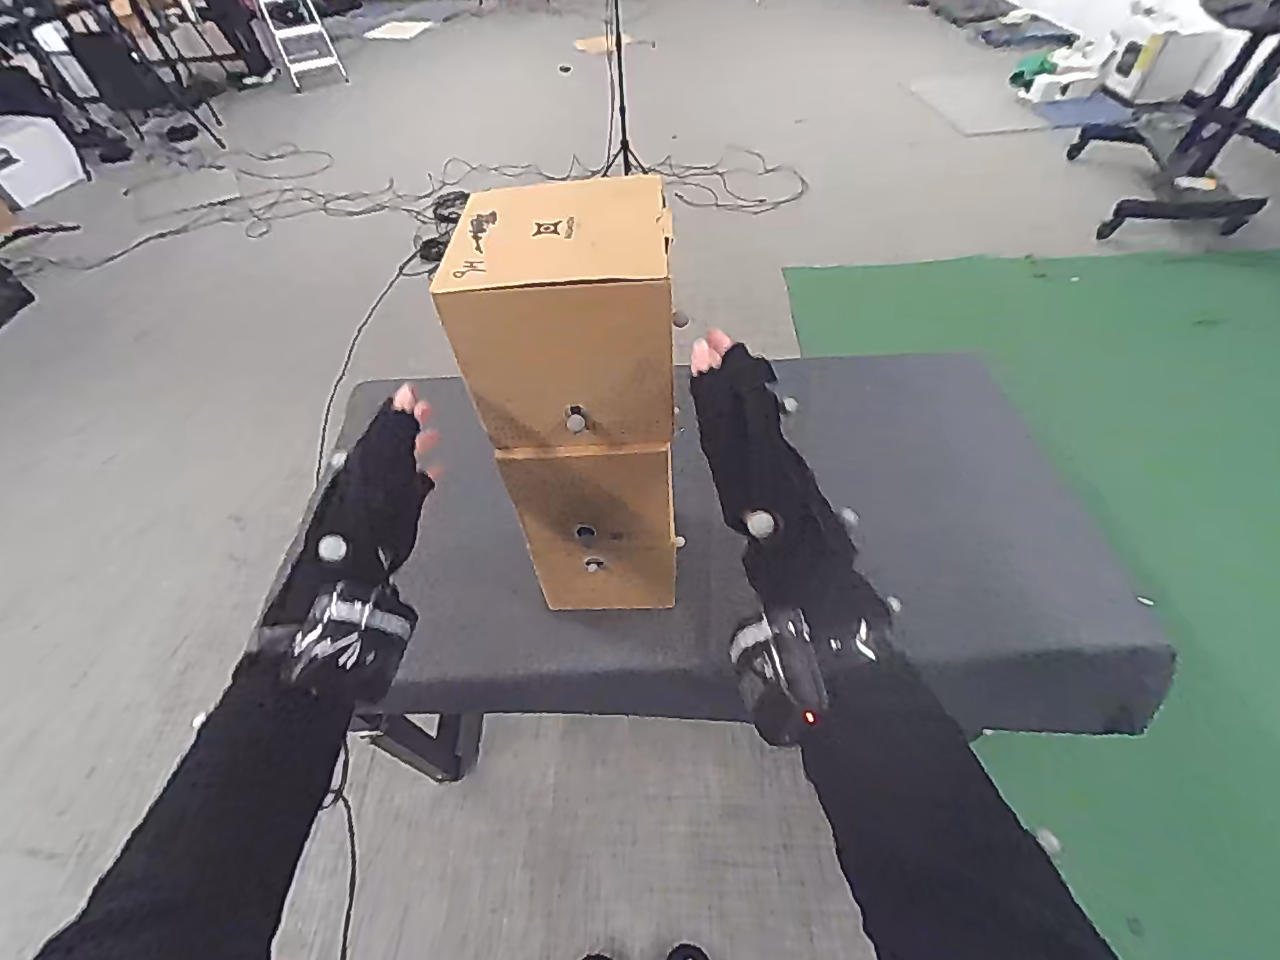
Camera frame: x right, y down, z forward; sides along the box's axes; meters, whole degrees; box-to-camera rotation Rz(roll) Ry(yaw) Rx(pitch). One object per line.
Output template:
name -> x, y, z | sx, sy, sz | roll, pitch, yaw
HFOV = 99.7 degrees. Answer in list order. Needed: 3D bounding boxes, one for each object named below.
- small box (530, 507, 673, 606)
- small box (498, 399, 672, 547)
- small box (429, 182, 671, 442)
small box -> -0.043, 0.069, 0.761 | 0.179, 0.176, 0.168 | -1, 52, 2
small box -> -0.050, -0.042, 0.622 | 0.168, 0.176, 0.179 | -4, 52, 3
small box -> -0.063, -0.149, 0.498 | 0.179, 0.176, 0.168 | -2, 50, 2
